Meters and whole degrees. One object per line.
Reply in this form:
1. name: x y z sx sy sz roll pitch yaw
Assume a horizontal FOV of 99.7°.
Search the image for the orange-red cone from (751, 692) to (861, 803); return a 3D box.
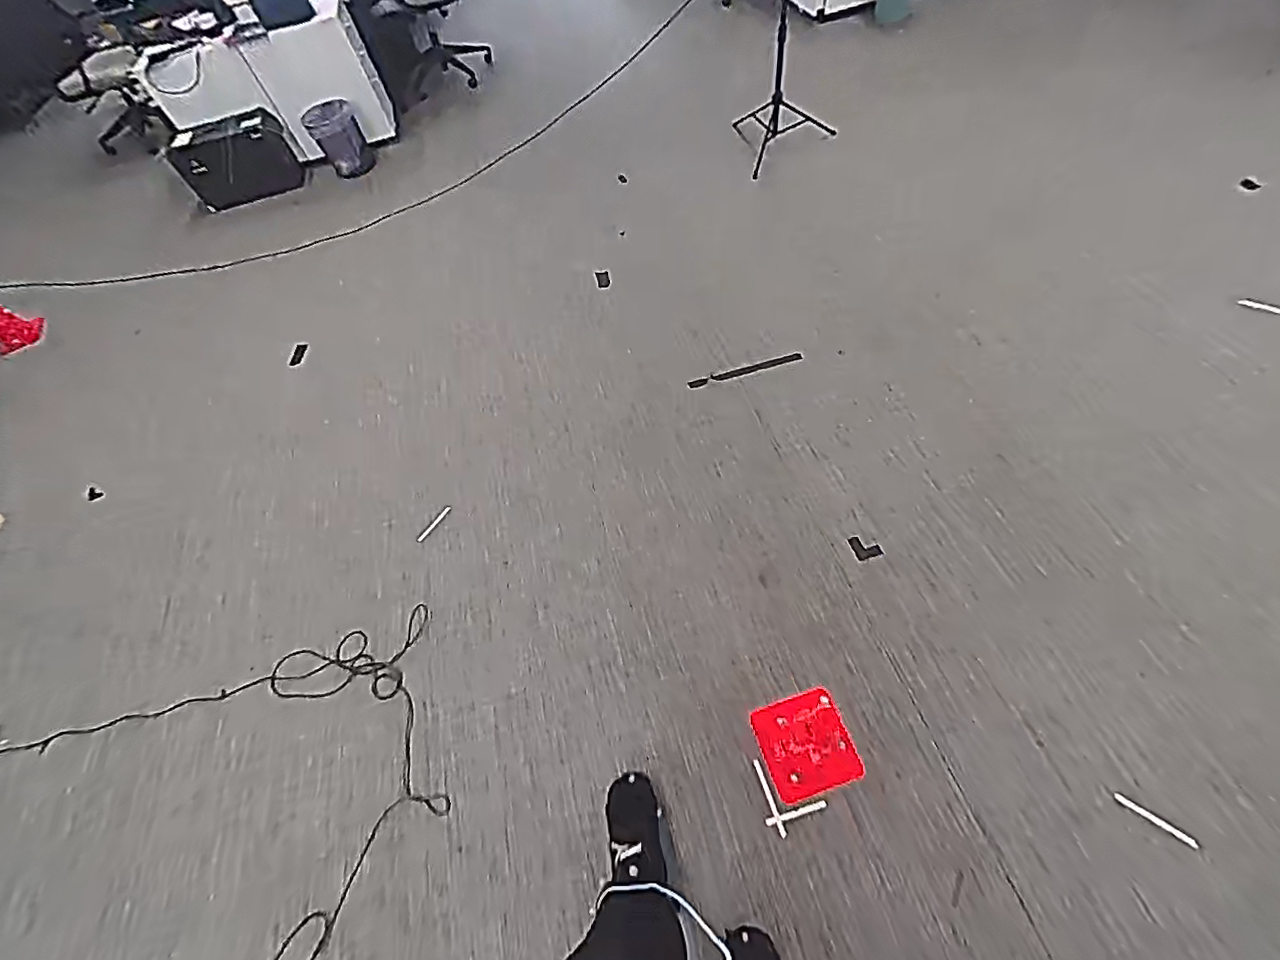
1. orange-red cone: 0.351 0.507 1.077 0.199 0.360 0.198 -16 57 -3
